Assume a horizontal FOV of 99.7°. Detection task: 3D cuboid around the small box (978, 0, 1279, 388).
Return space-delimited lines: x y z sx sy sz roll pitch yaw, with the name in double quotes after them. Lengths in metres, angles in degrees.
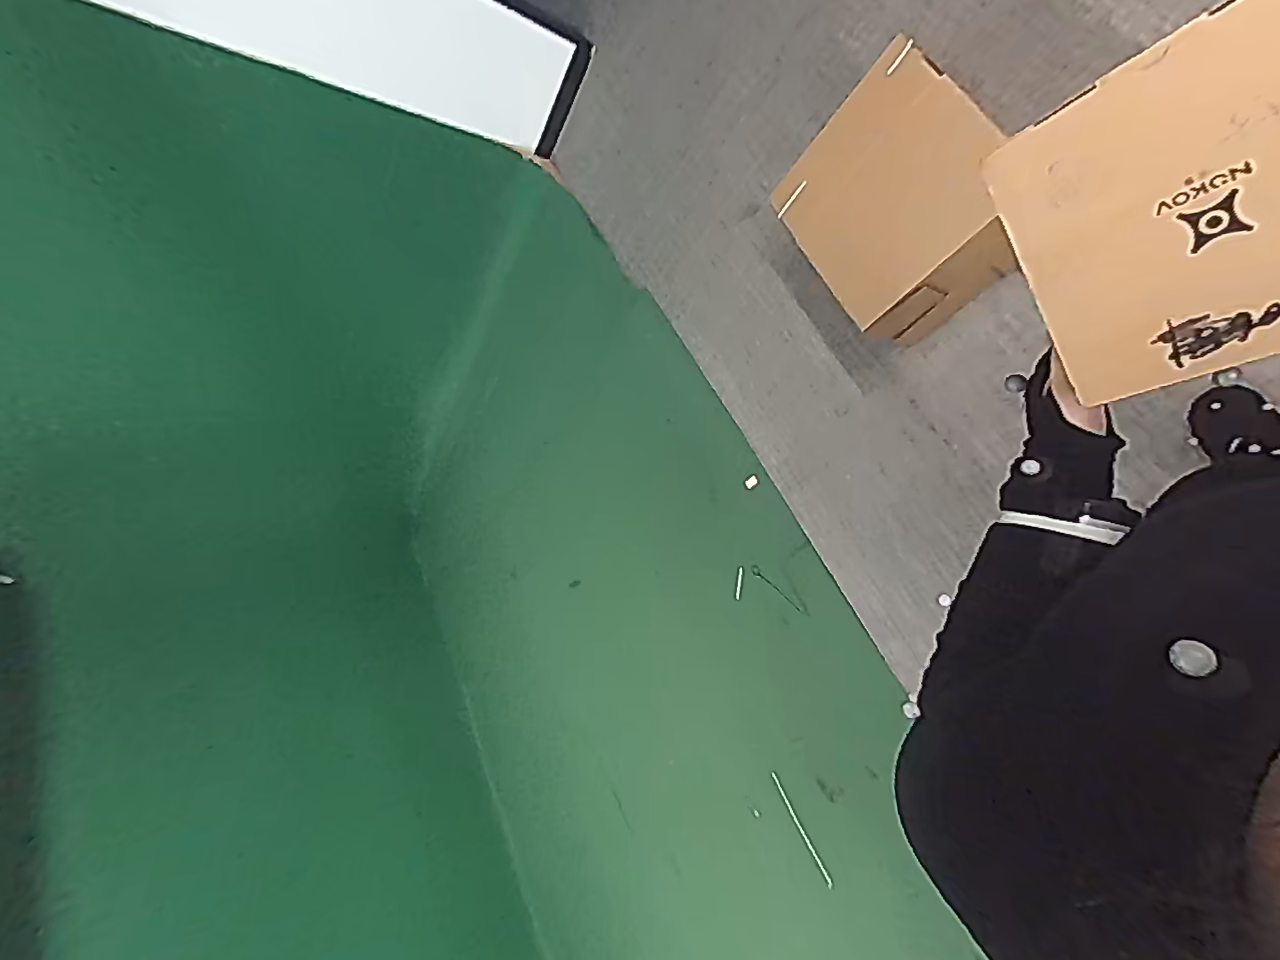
0.351 -0.181 0.345 0.168 0.176 0.179 -22 94 47 "small box"
